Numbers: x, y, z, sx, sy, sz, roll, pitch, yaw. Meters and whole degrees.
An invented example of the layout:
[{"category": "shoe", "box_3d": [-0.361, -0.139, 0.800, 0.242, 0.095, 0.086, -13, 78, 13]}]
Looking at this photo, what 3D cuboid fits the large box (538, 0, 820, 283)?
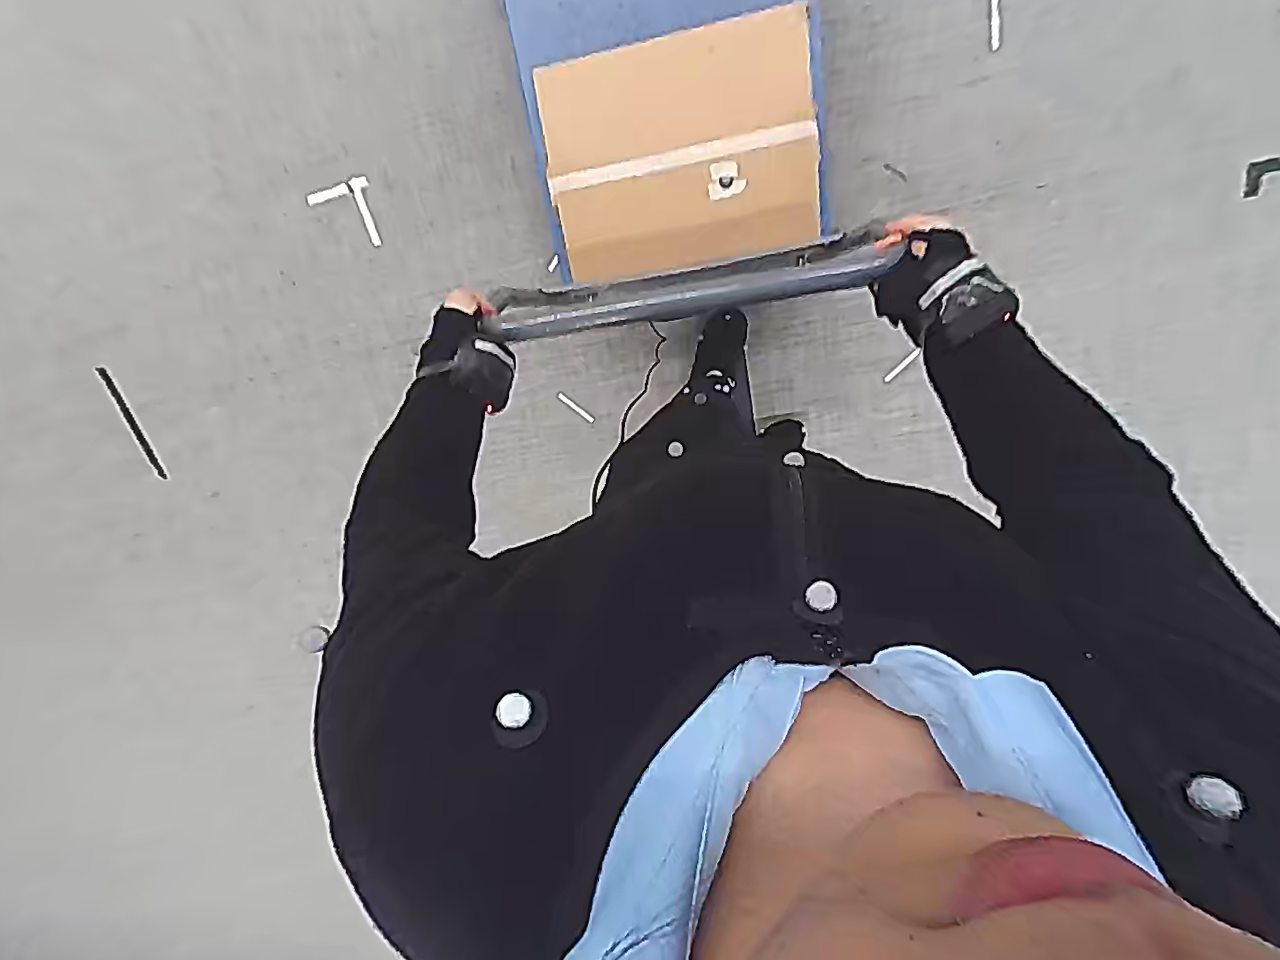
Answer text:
[{"category": "large box", "box_3d": [0.079, -0.552, 0.973, 0.408, 0.320, 0.320, -7, 110, 9]}]
